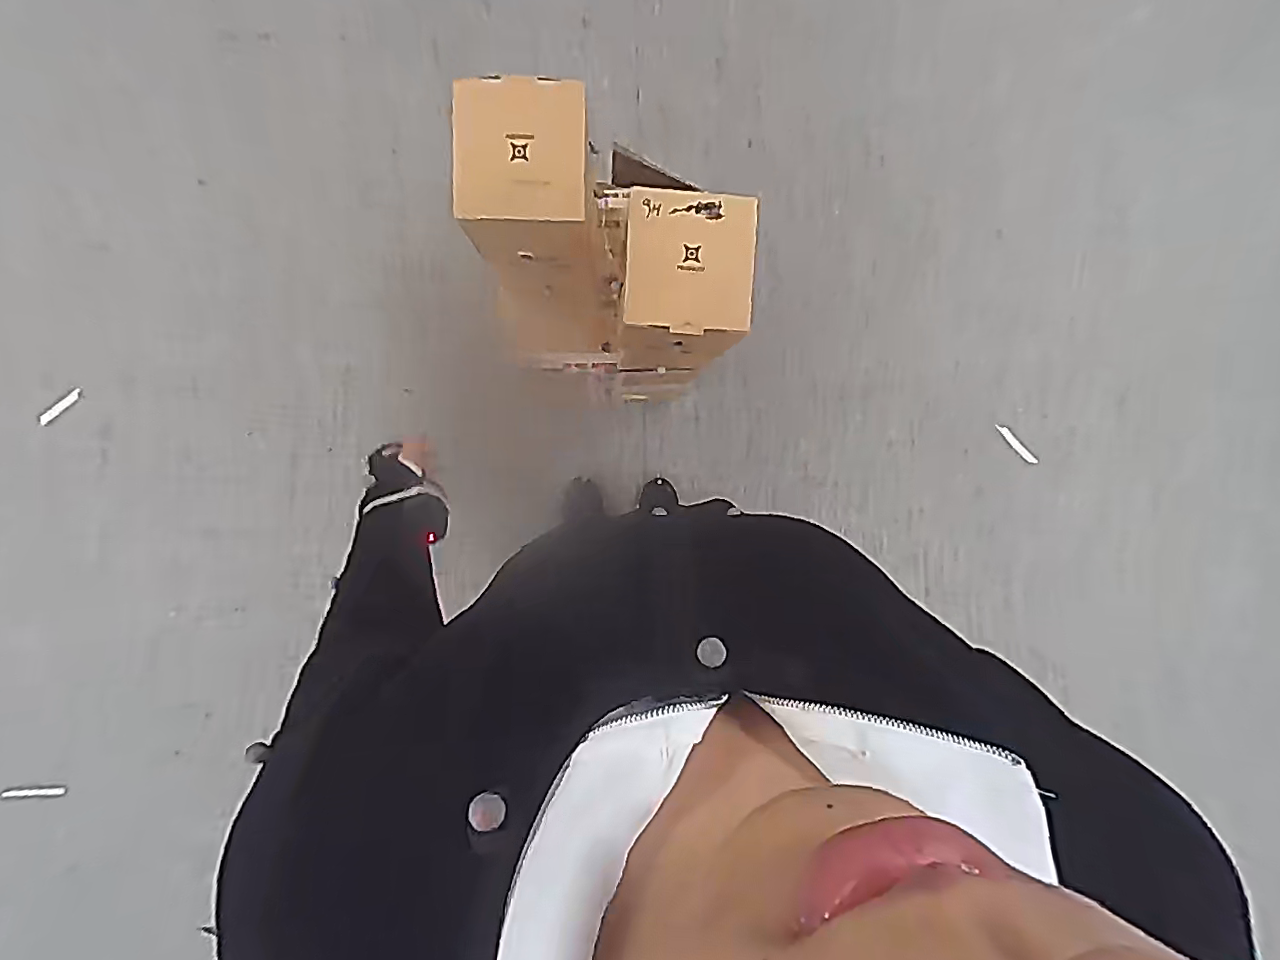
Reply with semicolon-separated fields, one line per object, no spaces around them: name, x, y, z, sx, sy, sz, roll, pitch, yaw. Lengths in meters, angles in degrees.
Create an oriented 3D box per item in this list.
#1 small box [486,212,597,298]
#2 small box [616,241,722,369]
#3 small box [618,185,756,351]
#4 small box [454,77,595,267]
small box;-0.161;-0.424;0.917;0.168;0.176;0.179;0;93;-2
small box;0.044;-0.294;0.936;0.168;0.176;0.179;-1;94;-4
small box;0.056;-0.287;0.771;0.168;0.176;0.179;3;94;-5
small box;-0.151;-0.416;0.754;0.168;0.176;0.179;0;93;-1
